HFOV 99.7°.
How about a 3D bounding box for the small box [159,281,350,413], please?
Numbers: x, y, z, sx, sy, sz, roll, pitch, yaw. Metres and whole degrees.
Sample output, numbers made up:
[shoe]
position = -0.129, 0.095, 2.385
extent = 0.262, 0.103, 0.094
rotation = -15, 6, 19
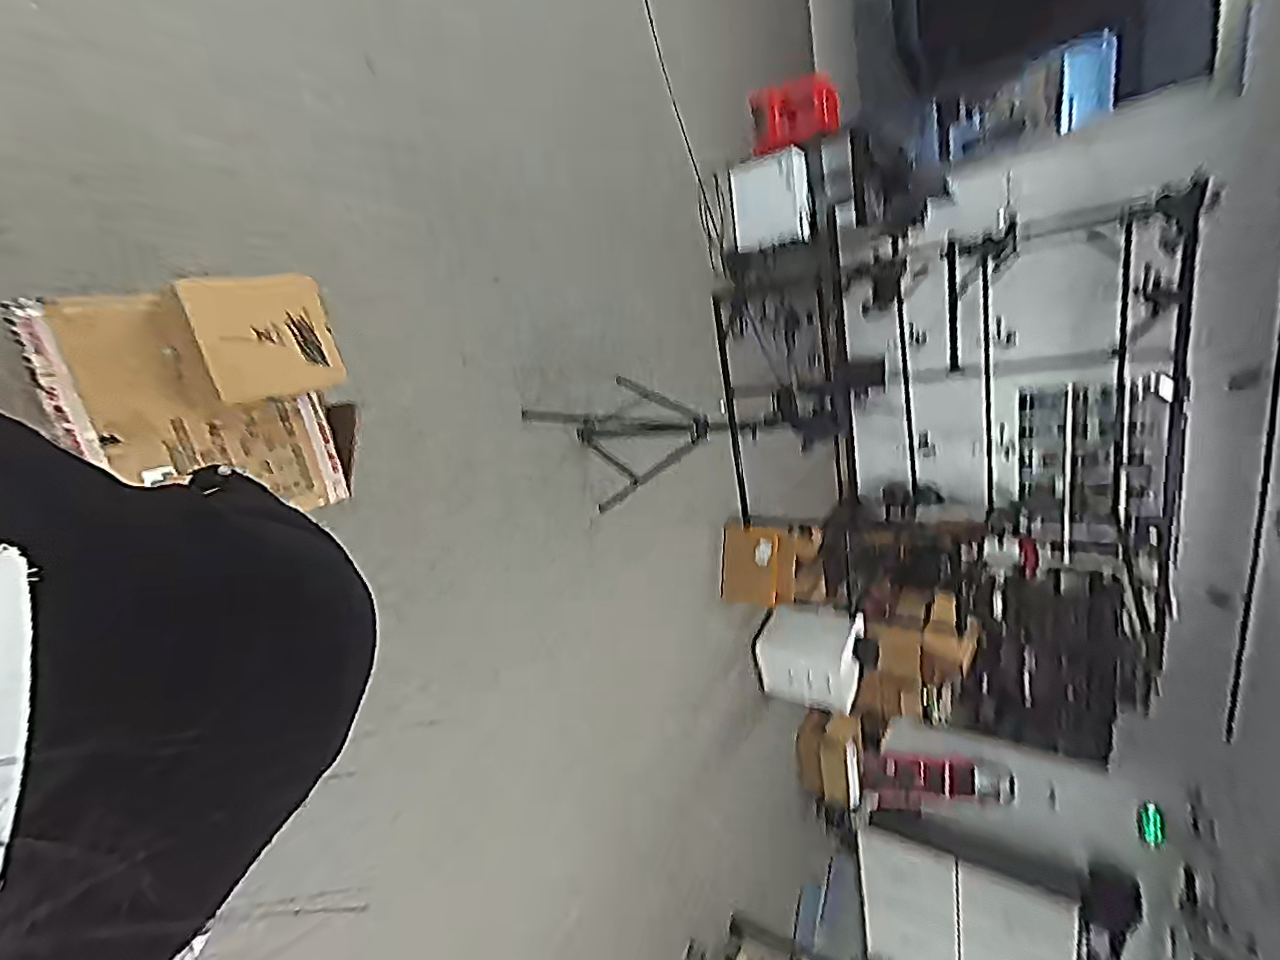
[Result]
[small box]
position = -0.593, -0.204, 0.836
extent = 0.179, 0.176, 0.168
rotation = -26, 109, -47
